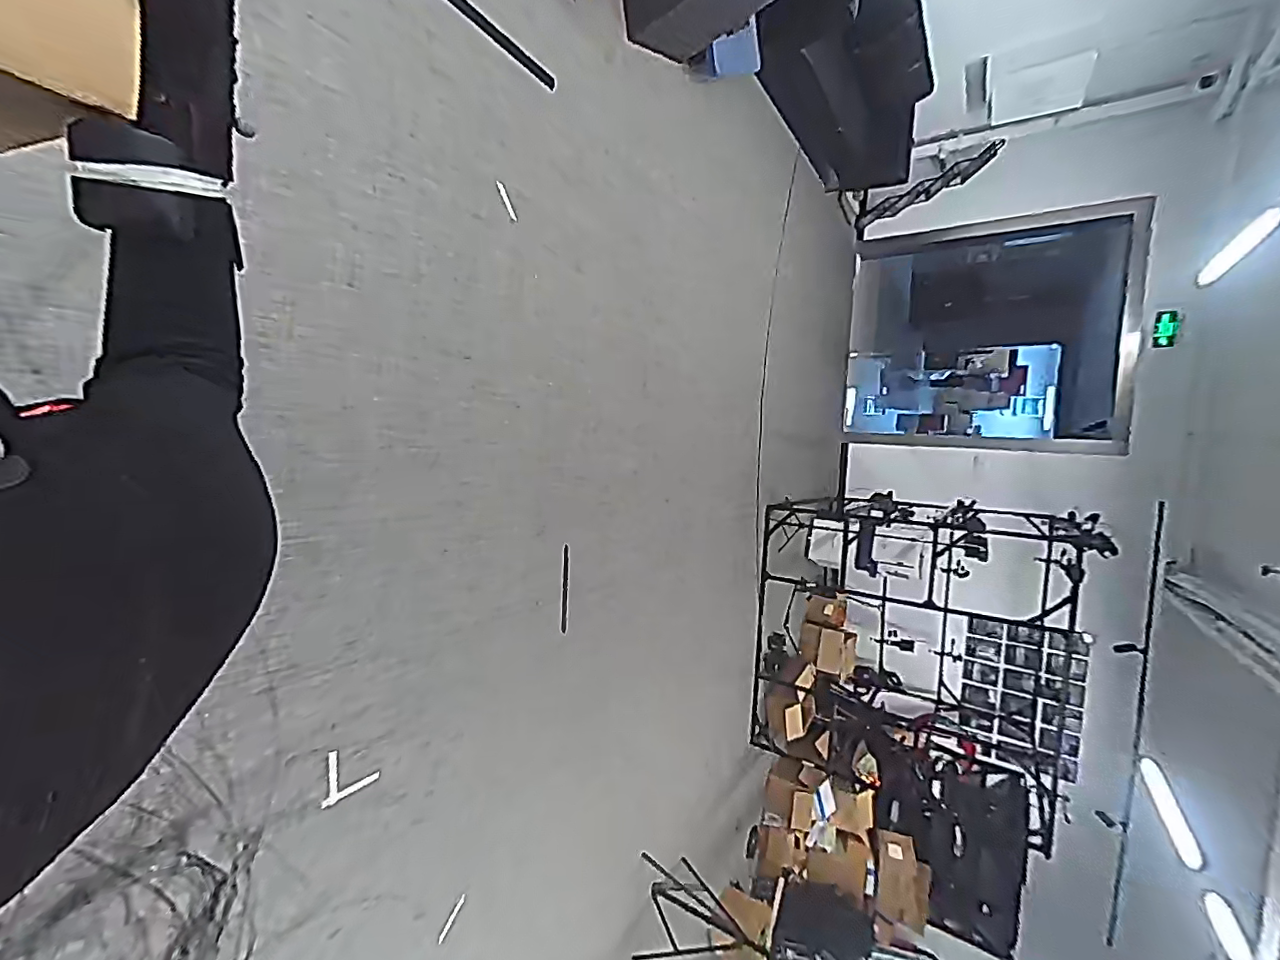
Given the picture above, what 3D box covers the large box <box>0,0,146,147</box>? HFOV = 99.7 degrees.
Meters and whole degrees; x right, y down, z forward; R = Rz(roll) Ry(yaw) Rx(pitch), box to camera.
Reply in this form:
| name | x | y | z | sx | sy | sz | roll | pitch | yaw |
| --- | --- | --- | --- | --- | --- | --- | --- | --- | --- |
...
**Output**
| name | x | y | z | sx | sy | sz | roll | pitch | yaw |
| --- | --- | --- | --- | --- | --- | --- | --- | --- | --- |
| large box | -0.524 | -0.398 | 0.224 | 0.408 | 0.320 | 0.320 | -7 | 110 | -60 |
